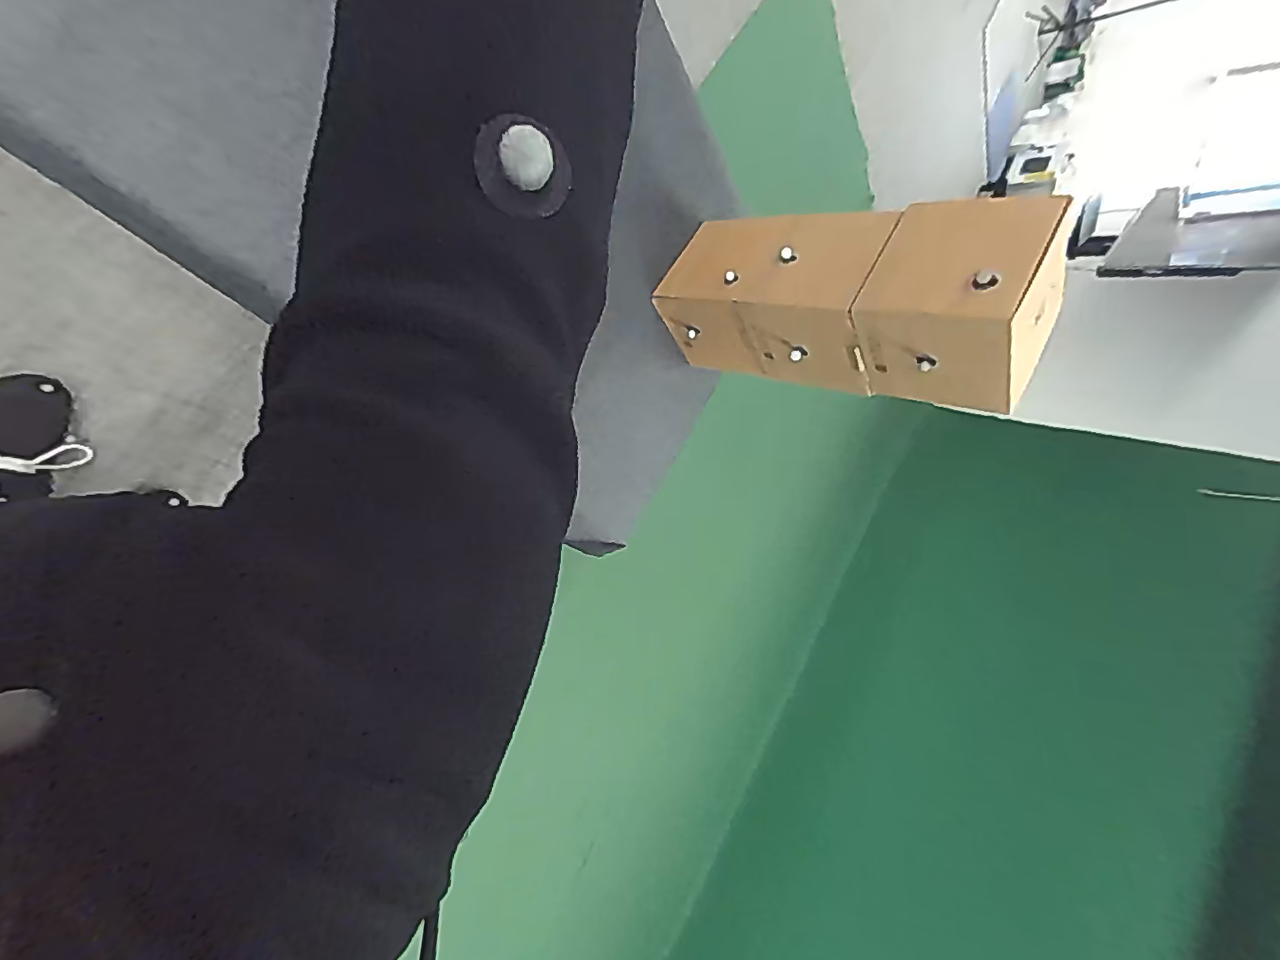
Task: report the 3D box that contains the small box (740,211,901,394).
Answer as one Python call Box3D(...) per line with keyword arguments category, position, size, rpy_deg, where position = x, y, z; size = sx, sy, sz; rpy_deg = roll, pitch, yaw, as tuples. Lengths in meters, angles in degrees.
Box3D(category="small box", position=(0.262, -0.253, 0.770), size=(0.179, 0.176, 0.168), rpy_deg=(-56, 139, -13))

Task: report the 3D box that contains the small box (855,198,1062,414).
Box3D(category="small box", position=(0.377, -0.210, 0.660), size=(0.179, 0.176, 0.168), rpy_deg=(-58, 140, -12))

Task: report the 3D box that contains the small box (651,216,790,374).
Box3D(category="small box", position=(0.149, -0.302, 0.878), size=(0.179, 0.176, 0.168), rpy_deg=(-57, 139, -13))
